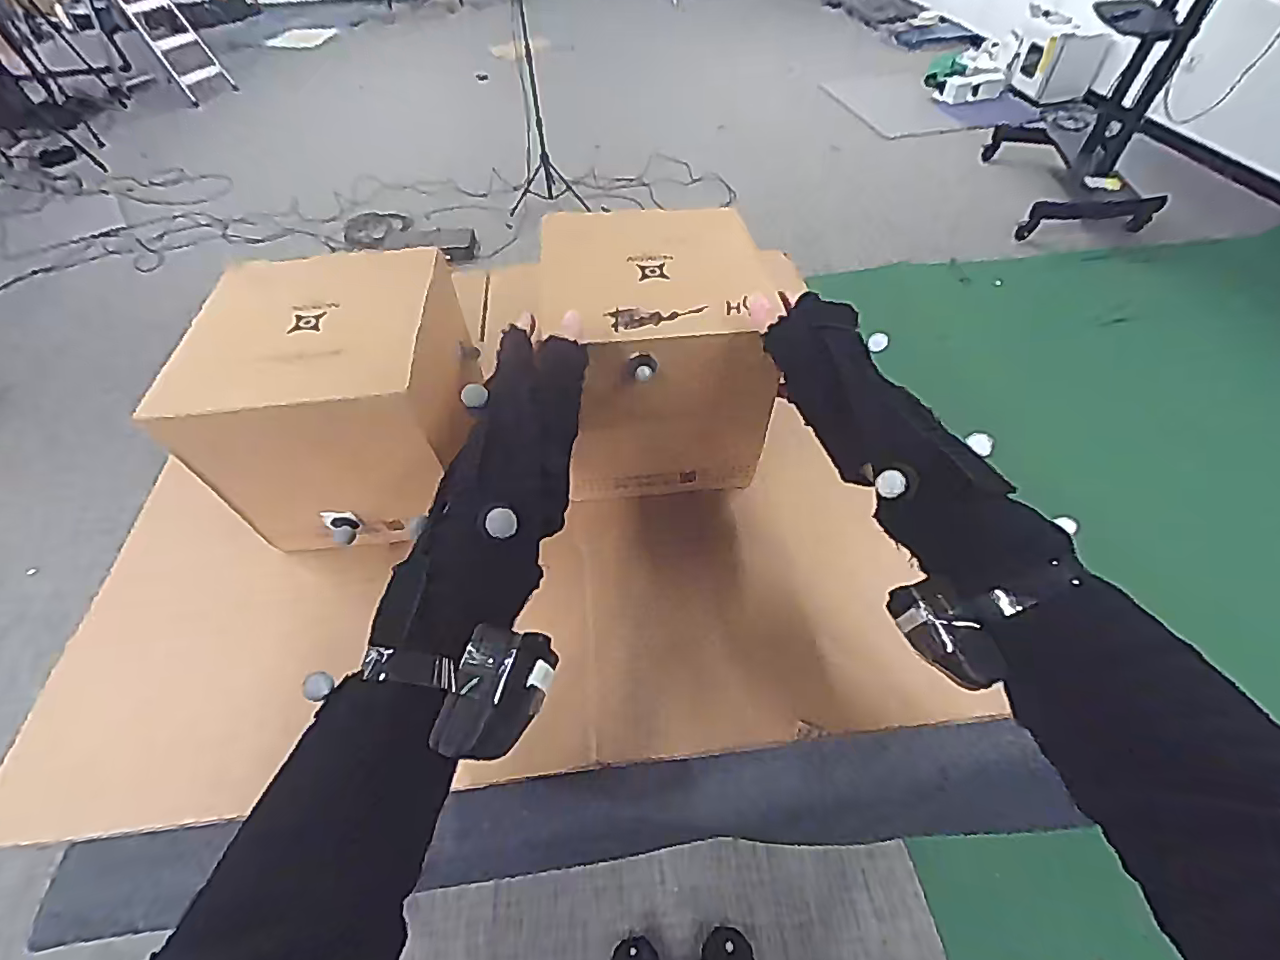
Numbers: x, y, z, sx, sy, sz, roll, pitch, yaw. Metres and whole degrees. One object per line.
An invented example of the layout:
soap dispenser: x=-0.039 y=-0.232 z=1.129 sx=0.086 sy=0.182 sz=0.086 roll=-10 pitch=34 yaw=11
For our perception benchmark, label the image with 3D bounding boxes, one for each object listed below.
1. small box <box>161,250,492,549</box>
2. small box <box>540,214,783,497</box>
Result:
small box: x=-0.228 y=-0.064 z=0.456 sx=0.168 sy=0.176 sz=0.179 roll=-7 pitch=54 yaw=-2
small box: x=0.009 y=-0.107 z=0.472 sx=0.168 sy=0.176 sz=0.179 roll=-5 pitch=51 yaw=-2
